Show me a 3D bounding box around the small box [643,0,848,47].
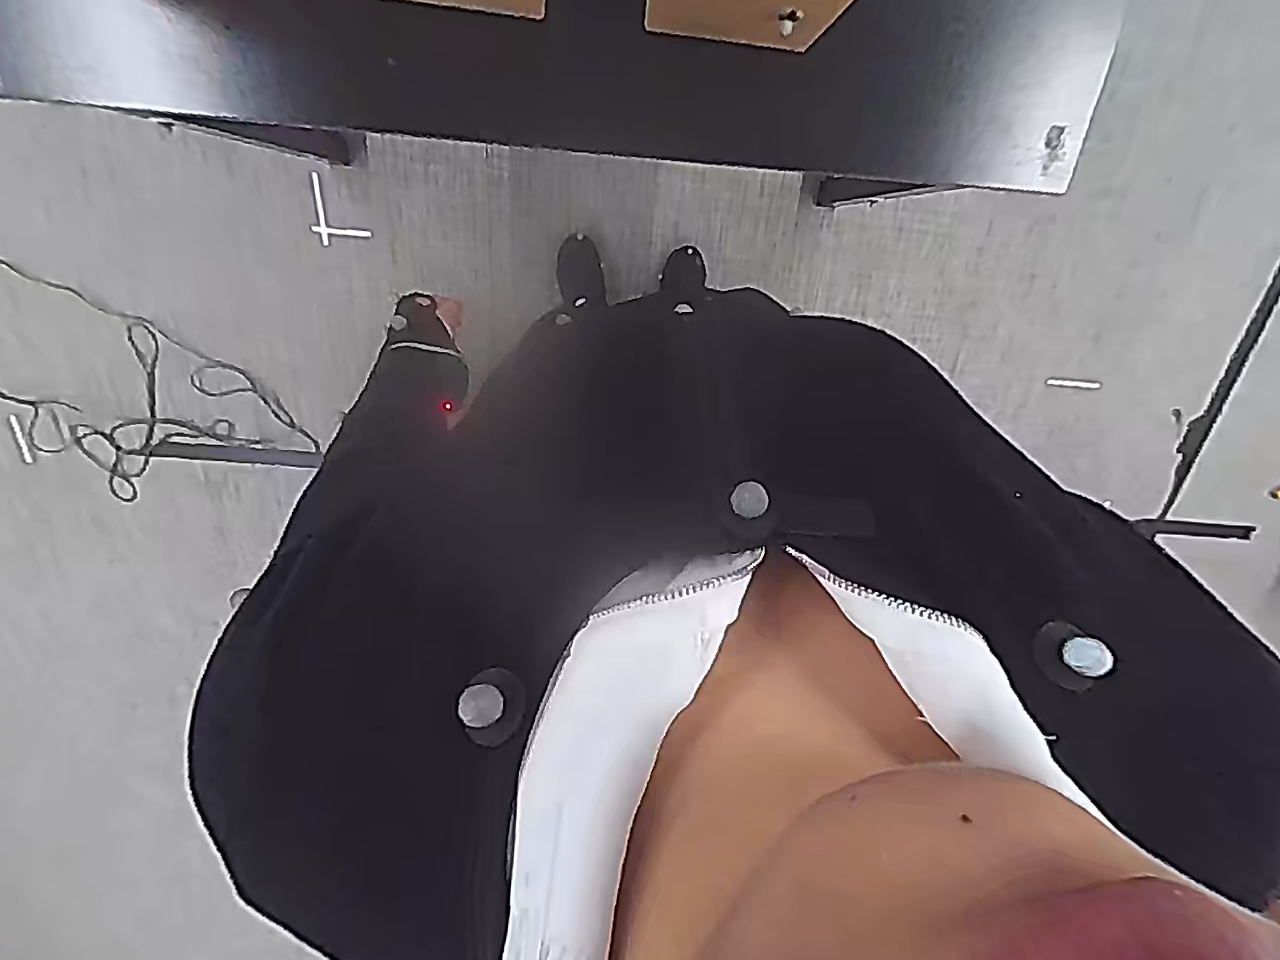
[{"bbox_3d":[0.098,-0.508,0.468,0.179,0.176,0.168,4,113,-3],"label":"small box"}]

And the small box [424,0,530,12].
[{"bbox_3d":[-0.175,-0.525,0.446,0.179,0.176,0.168,4,113,-4],"label":"small box"}]
